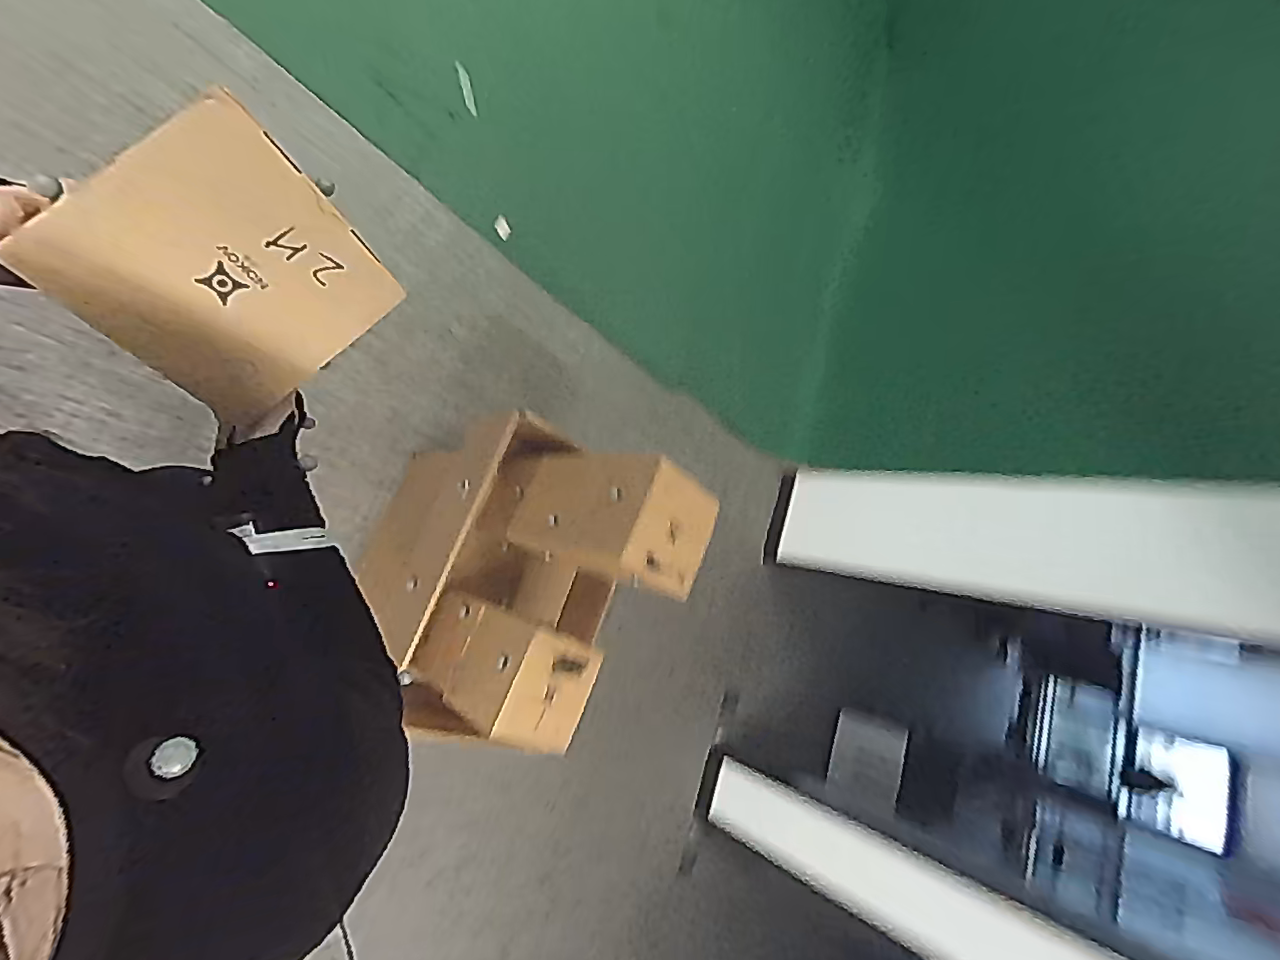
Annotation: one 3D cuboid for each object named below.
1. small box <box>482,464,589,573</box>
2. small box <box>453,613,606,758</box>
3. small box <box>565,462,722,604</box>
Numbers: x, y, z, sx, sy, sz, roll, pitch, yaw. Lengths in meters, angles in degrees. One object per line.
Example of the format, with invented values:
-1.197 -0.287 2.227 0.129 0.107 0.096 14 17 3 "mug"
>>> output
-0.206 0.076 1.151 0.168 0.176 0.179 35 70 -38 "small box"
-0.197 0.352 0.947 0.168 0.176 0.179 38 68 -38 "small box"
0.004 0.082 0.900 0.168 0.176 0.179 37 68 -37 "small box"
